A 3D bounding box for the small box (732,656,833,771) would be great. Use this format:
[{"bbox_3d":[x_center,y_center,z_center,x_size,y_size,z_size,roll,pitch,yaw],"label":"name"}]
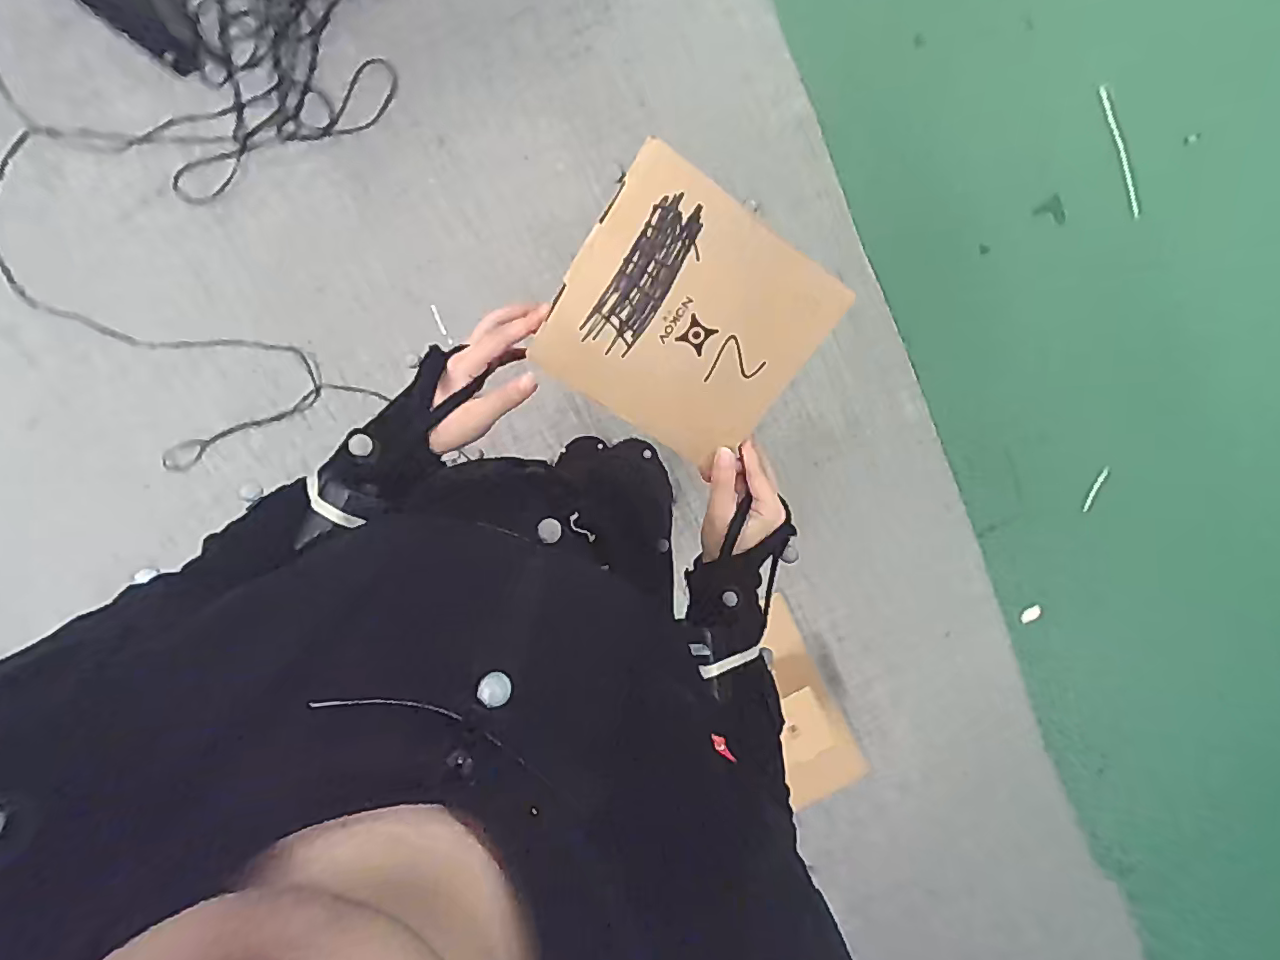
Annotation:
[{"bbox_3d":[0.355,0.587,1.376,0.168,0.176,0.179,-27,99,0],"label":"small box"}]
